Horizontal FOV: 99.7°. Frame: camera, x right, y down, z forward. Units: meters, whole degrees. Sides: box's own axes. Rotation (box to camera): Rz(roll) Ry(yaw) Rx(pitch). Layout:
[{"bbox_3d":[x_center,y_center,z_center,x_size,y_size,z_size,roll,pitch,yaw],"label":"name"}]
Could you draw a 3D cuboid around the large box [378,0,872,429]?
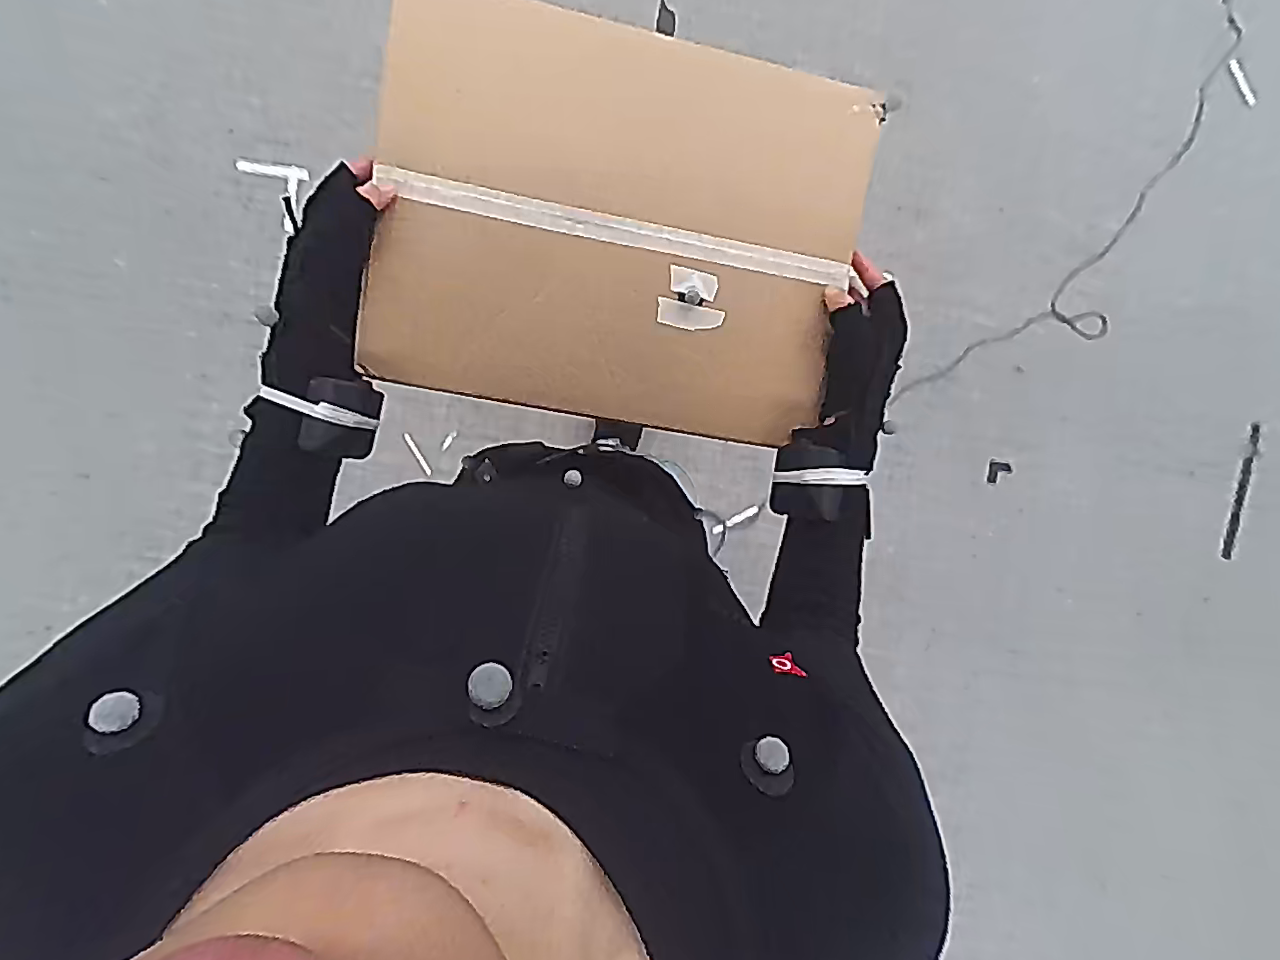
[{"bbox_3d":[-0.028,-0.241,0.614,0.408,0.320,0.320,8,98,-8],"label":"large box"}]
